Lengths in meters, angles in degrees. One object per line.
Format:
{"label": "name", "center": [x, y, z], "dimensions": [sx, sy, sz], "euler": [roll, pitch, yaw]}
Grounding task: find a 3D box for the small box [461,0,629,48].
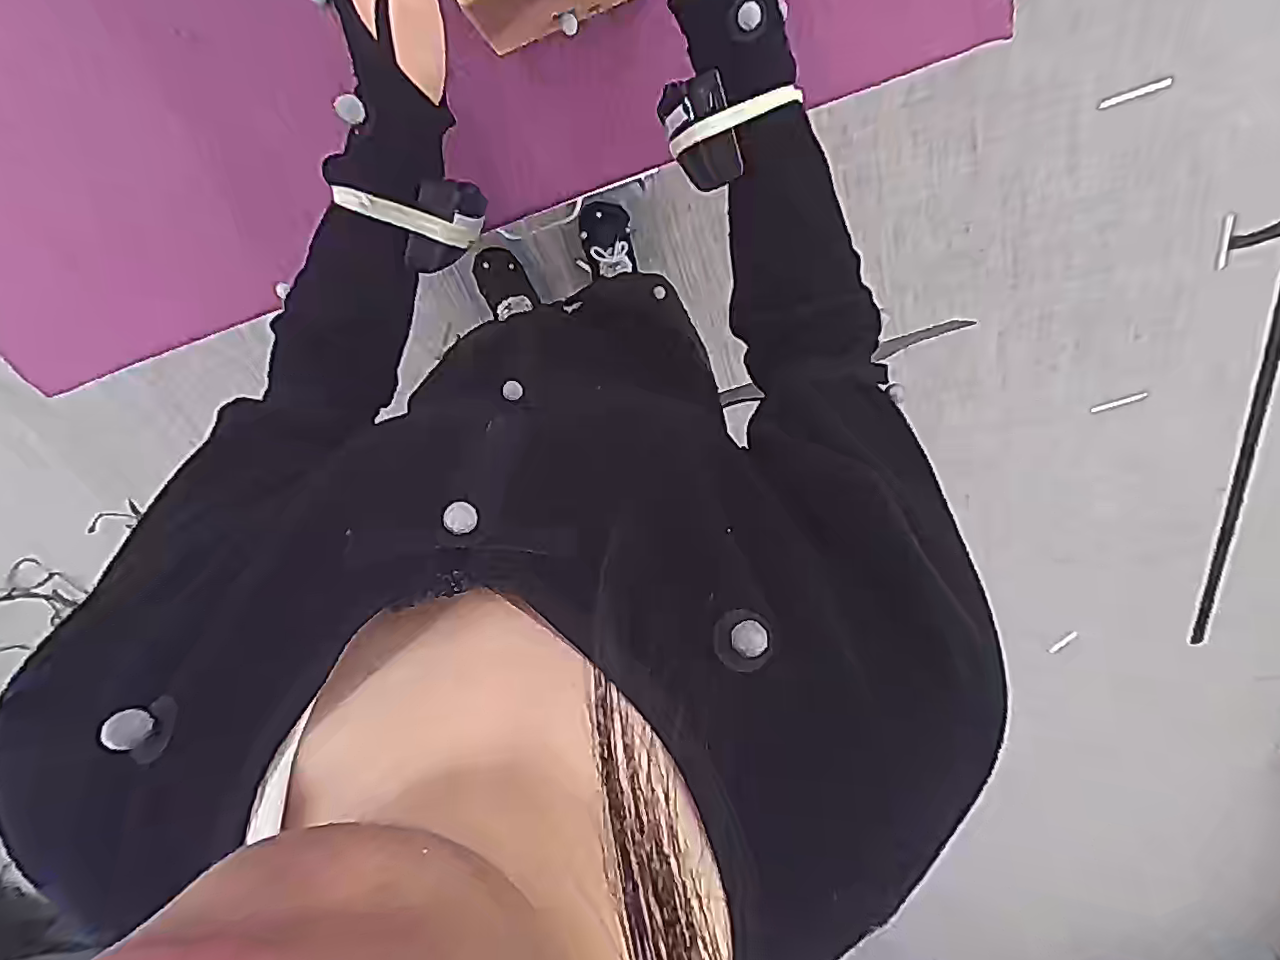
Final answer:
{"label": "small box", "center": [-0.091, -0.488, 0.426], "dimensions": [0.168, 0.176, 0.179], "euler": [-17, 119, 7]}
